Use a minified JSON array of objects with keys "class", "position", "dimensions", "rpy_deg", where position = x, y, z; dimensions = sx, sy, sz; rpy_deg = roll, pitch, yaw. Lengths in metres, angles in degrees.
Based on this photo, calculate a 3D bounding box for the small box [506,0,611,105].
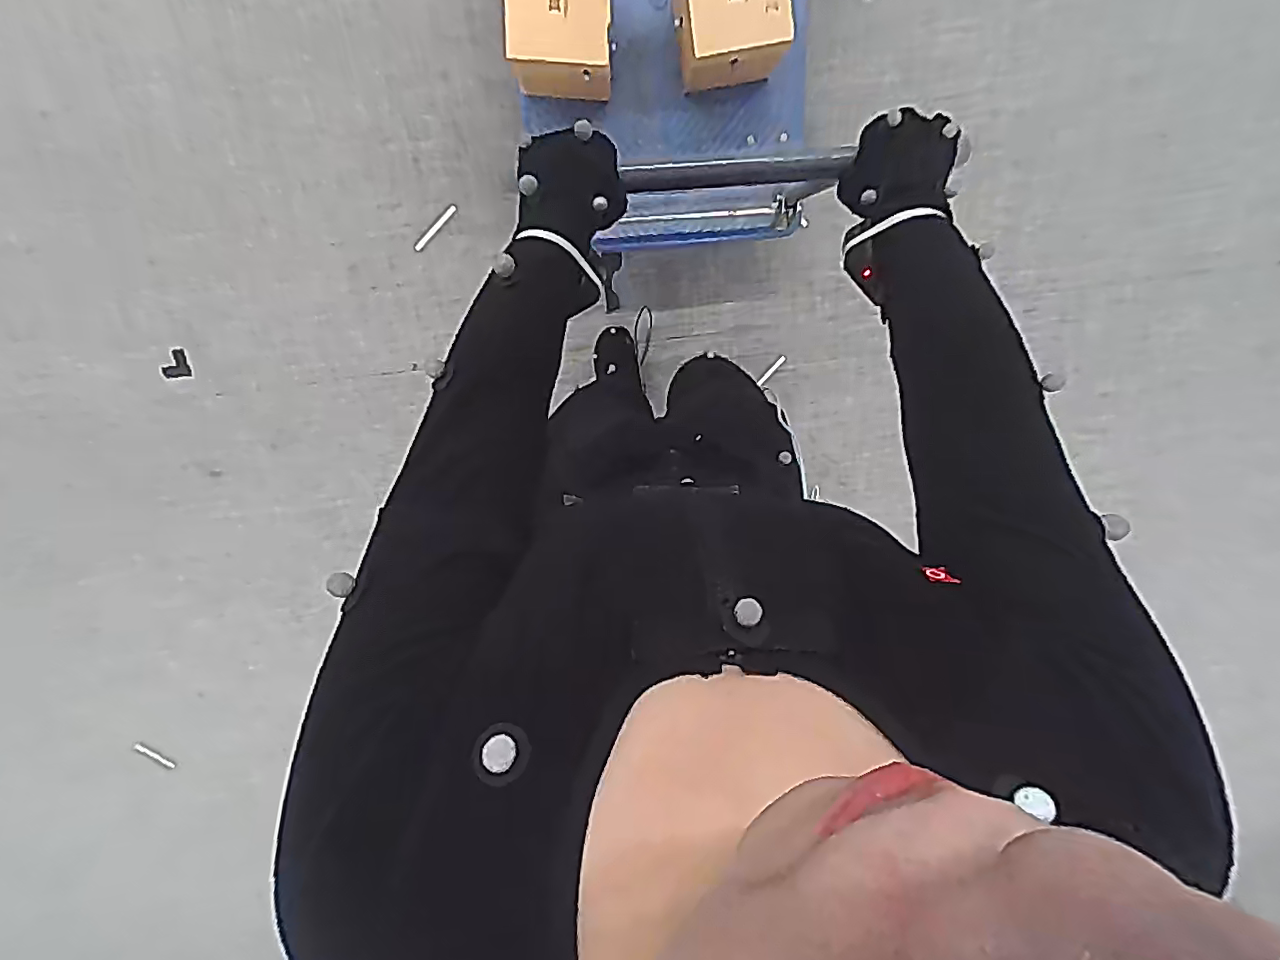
[{"class":"small box","position":[-0.142,-0.809,0.983],"dimensions":[0.179,0.176,0.168],"rpy_deg":[1,108,-5]}]

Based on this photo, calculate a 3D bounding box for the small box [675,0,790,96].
[{"class":"small box","position":[0.161,-0.835,0.988],"dimensions":[0.179,0.176,0.168],"rpy_deg":[-10,108,1]}]
